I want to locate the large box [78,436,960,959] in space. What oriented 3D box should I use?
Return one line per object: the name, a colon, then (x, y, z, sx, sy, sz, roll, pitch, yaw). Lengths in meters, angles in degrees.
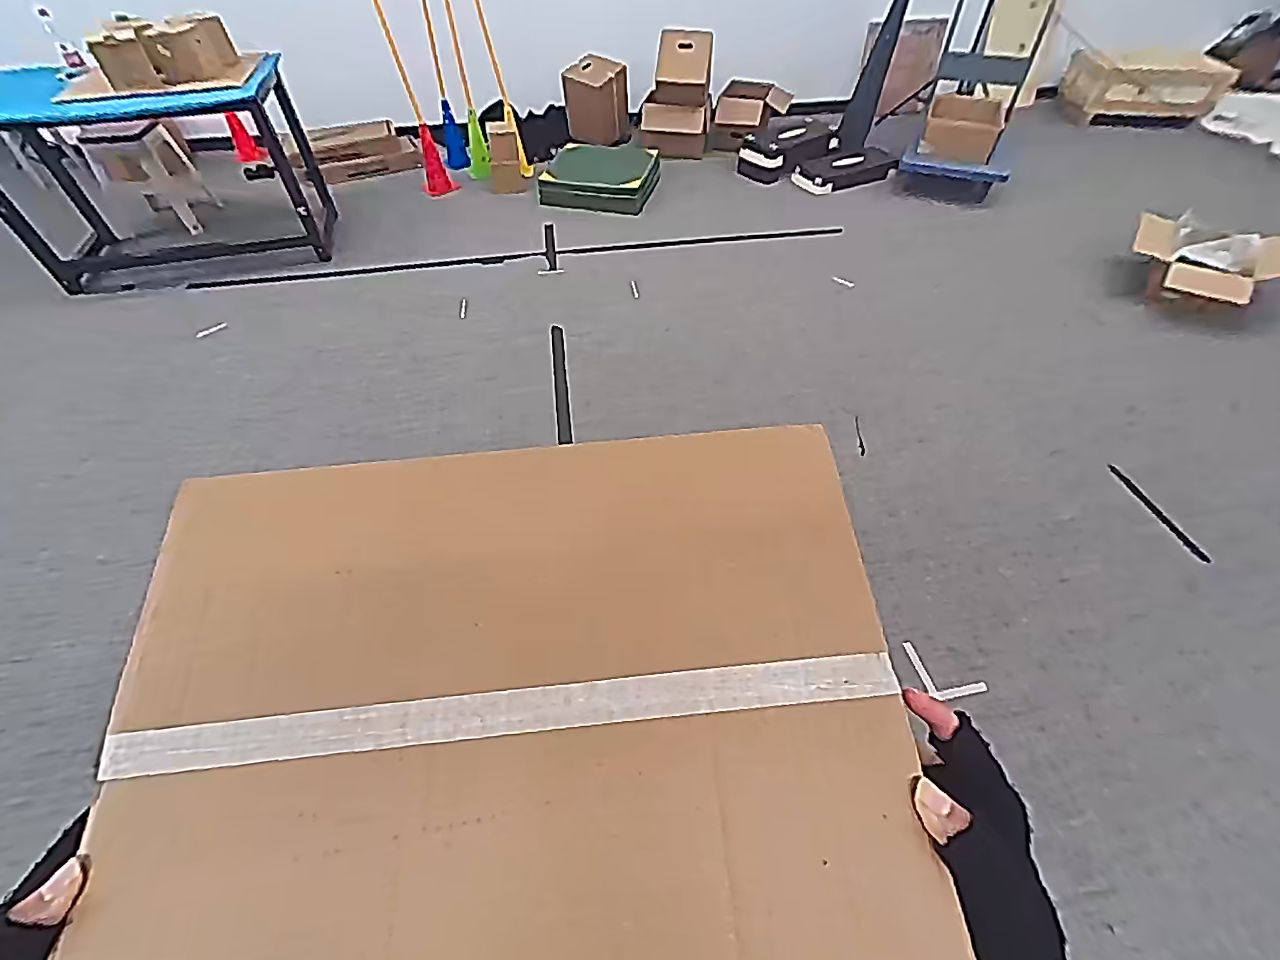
large box: (-0.065, 0.192, 0.423, 0.408, 0.320, 0.320, -5, 65, -2)
